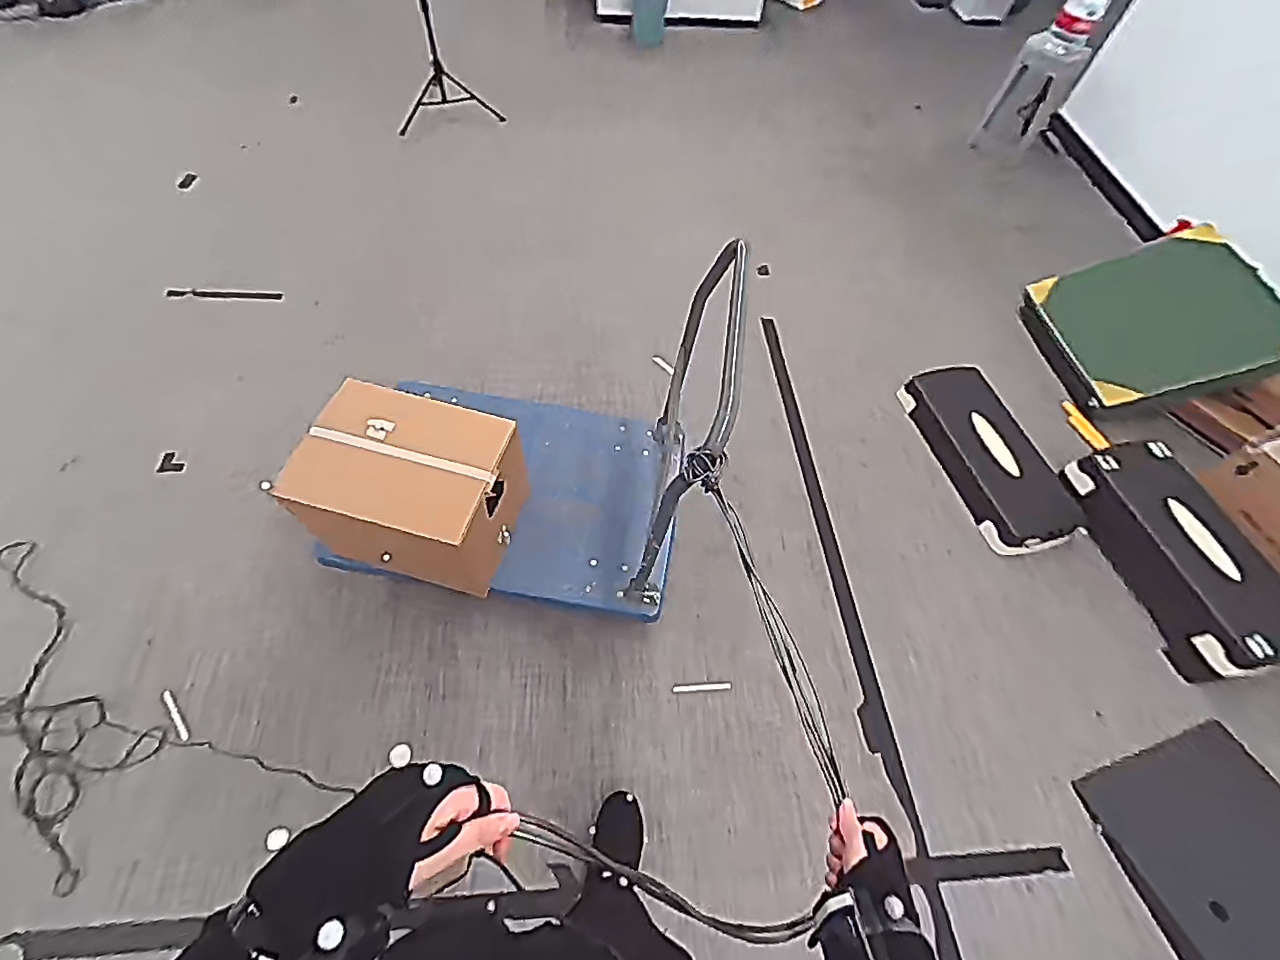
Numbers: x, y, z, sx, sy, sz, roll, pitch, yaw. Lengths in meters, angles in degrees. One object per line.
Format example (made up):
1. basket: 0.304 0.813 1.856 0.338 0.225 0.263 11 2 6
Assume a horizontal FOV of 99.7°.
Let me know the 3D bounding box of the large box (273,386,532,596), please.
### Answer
1. large box: -0.502 0.035 1.248 0.408 0.320 0.320 14 58 4
